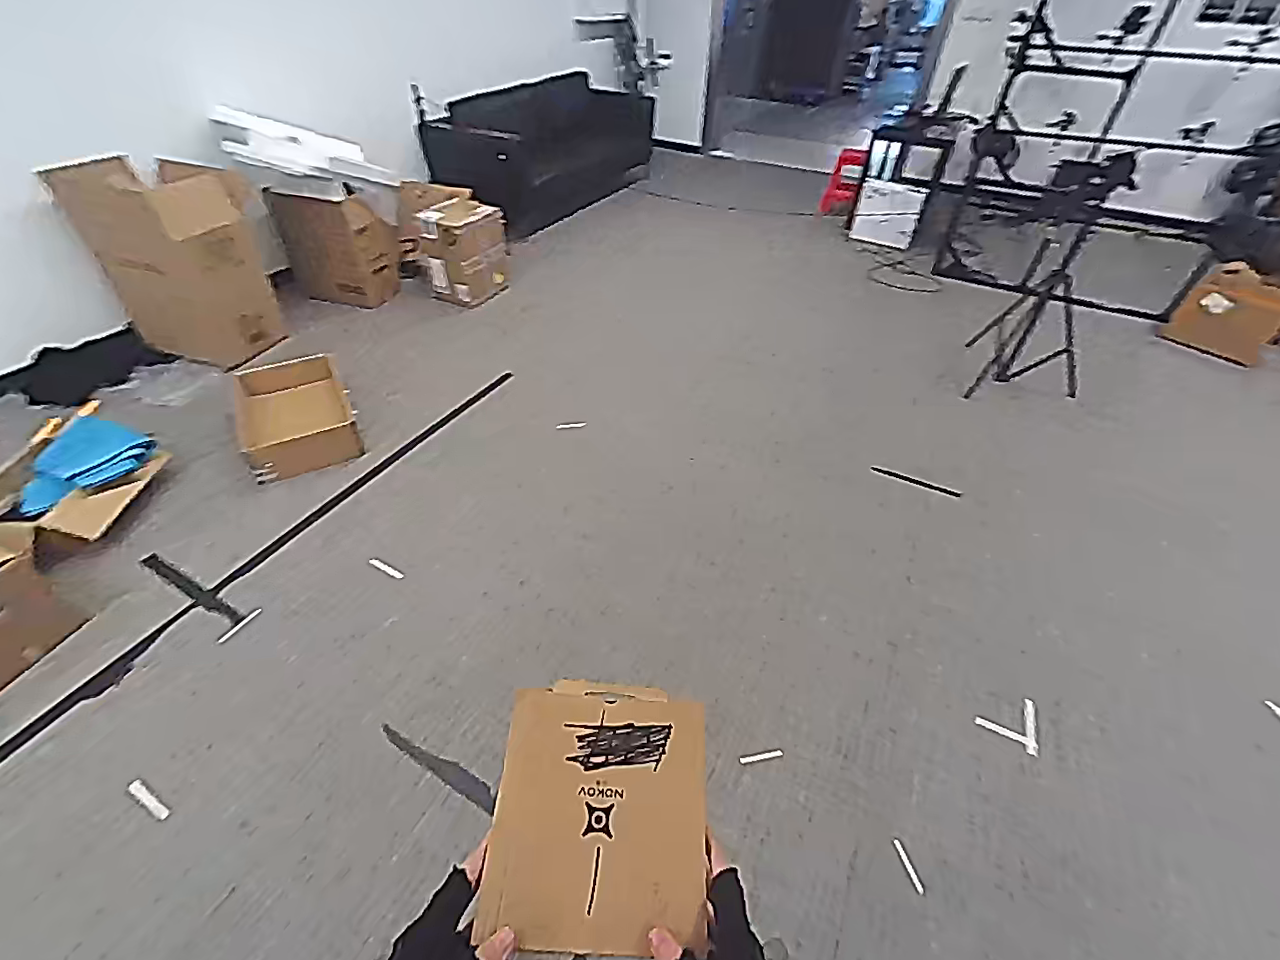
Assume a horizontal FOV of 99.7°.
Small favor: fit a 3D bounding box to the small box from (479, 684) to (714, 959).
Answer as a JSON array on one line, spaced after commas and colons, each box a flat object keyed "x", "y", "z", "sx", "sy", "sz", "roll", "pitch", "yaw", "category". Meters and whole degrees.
[{"x": -0.031, "y": 0.305, "z": 0.482, "sx": 0.168, "sy": 0.176, "sz": 0.179, "roll": 6, "pitch": 50, "yaw": -1, "category": "small box"}]
